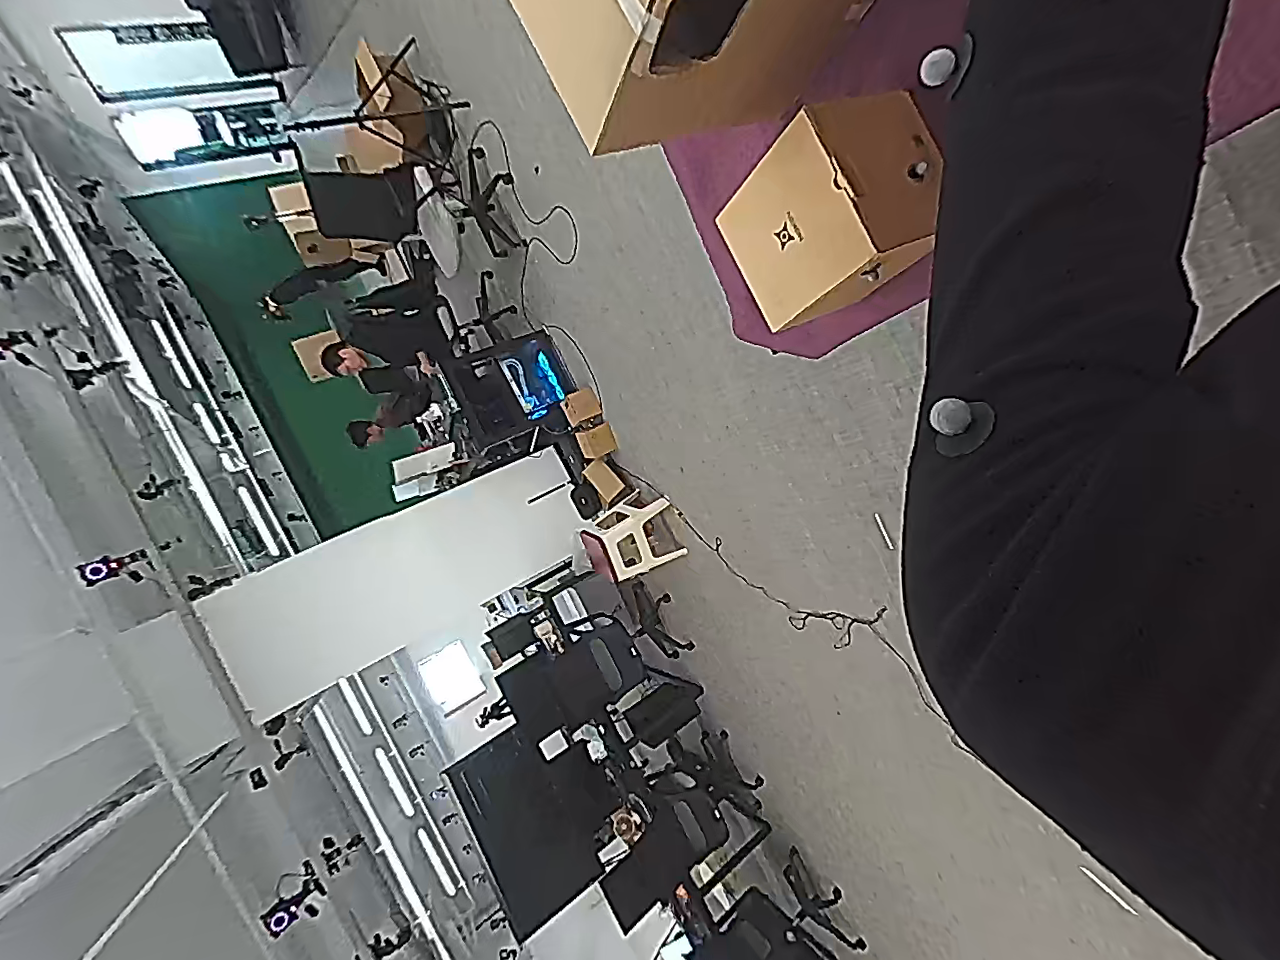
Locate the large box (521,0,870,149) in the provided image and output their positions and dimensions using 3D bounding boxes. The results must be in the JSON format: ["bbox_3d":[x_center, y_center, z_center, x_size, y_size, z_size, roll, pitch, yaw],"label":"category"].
[{"bbox_3d":[0.040,-0.630,0.521,0.408,0.320,0.320,61,156,-1],"label":"large box"}]

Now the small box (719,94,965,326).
[{"bbox_3d":[0.230,-0.310,0.637,0.168,0.176,0.179,63,154,2],"label":"small box"}]
